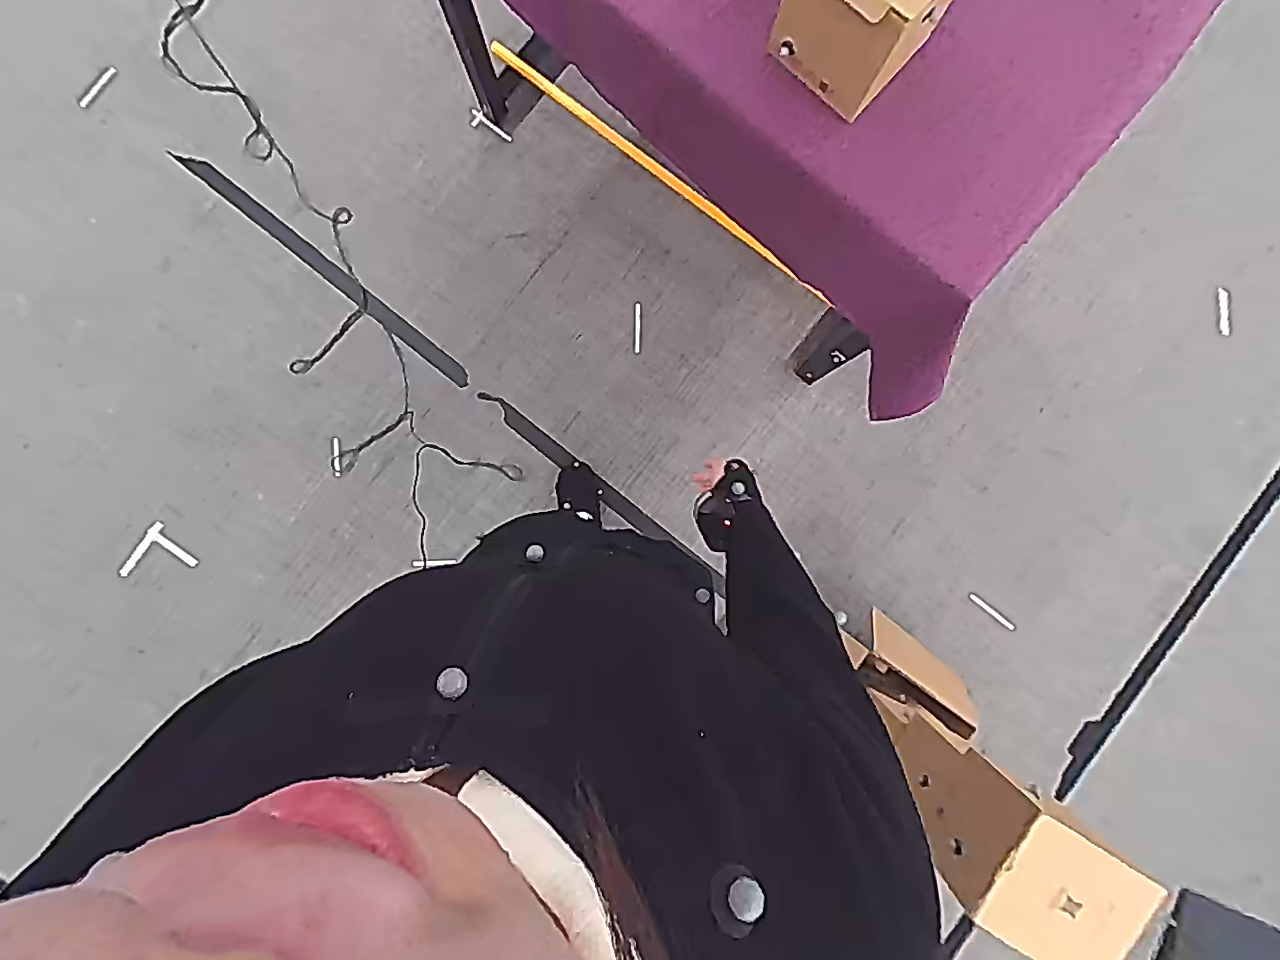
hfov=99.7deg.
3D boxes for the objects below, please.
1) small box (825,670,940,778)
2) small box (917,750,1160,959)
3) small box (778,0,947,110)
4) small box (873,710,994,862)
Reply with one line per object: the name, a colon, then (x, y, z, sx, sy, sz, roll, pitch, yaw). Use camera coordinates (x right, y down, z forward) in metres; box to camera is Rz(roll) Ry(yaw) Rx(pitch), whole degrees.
small box: (0.545, 0.563, 1.242, 0.168, 0.176, 0.179, 17, 92, 2)
small box: (0.529, 0.512, 0.750, 0.179, 0.176, 0.168, 32, 92, 2)
small box: (0.302, -0.642, 0.703, 0.168, 0.176, 0.179, 42, 88, 0)
small box: (0.528, 0.527, 0.914, 0.168, 0.176, 0.179, 31, 92, 4)
